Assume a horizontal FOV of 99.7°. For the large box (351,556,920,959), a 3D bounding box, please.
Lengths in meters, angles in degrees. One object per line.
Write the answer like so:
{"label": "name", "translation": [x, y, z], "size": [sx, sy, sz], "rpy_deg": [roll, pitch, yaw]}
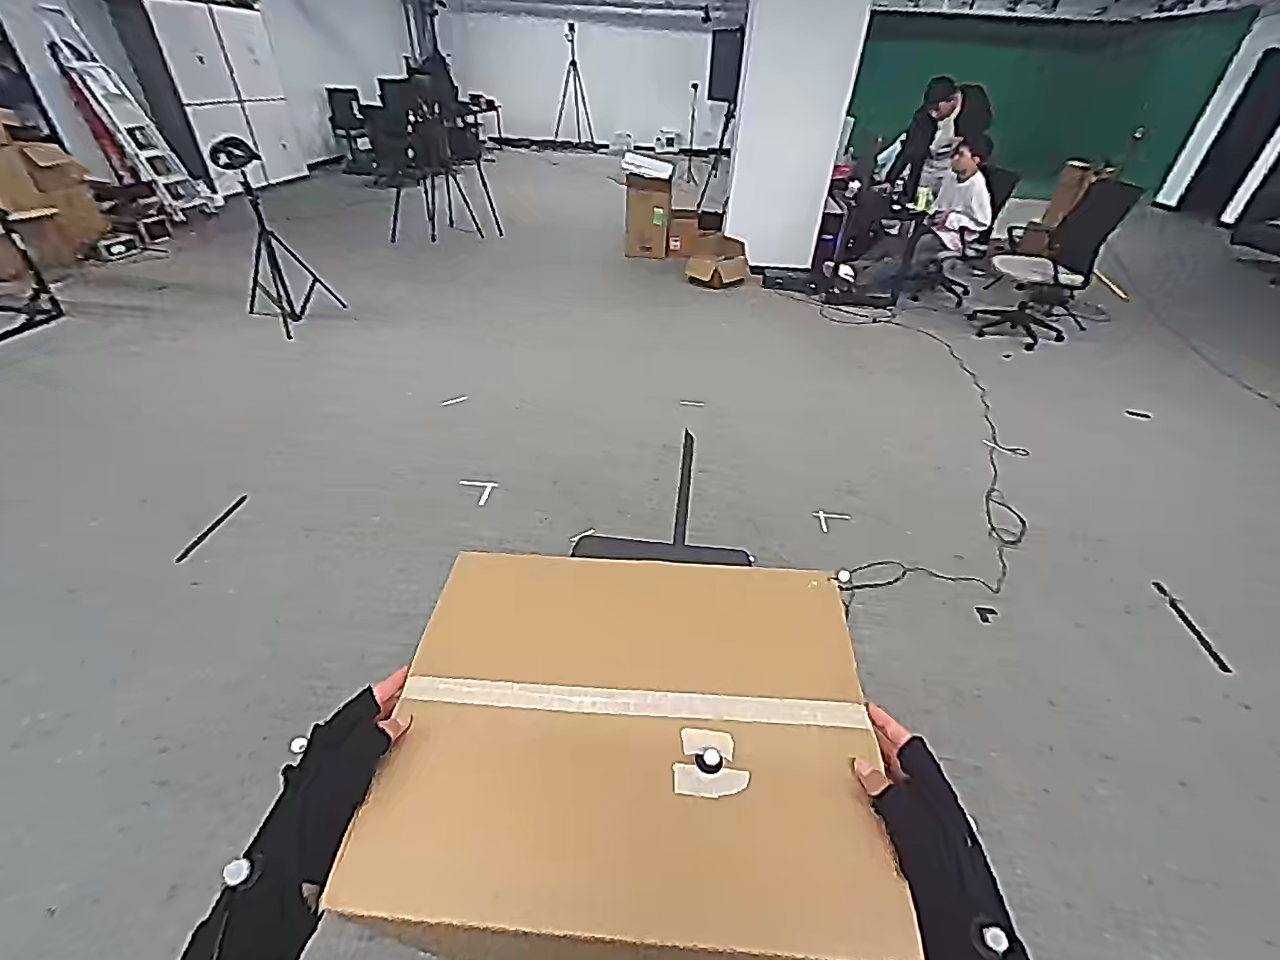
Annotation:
{"label": "large box", "translation": [0.000, 0.305, 0.579], "size": [0.408, 0.320, 0.320], "rpy_deg": [3, 44, 3]}
